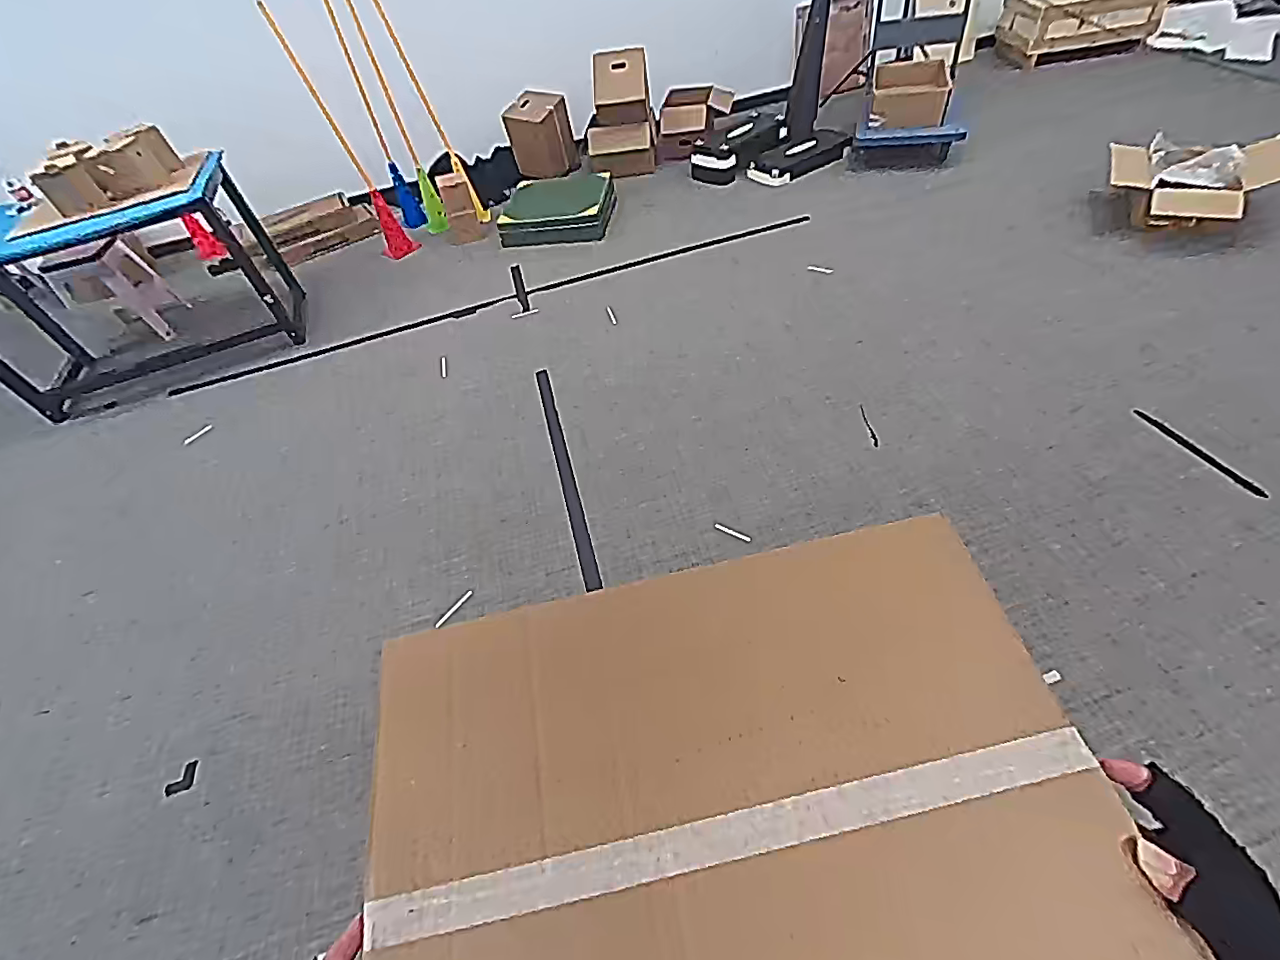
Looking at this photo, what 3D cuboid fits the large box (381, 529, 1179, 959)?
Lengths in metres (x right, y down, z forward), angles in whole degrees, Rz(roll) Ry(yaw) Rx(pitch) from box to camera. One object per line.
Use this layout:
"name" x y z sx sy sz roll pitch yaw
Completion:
"large box" 0.066 0.282 0.430 0.408 0.320 0.320 -13 56 -2
